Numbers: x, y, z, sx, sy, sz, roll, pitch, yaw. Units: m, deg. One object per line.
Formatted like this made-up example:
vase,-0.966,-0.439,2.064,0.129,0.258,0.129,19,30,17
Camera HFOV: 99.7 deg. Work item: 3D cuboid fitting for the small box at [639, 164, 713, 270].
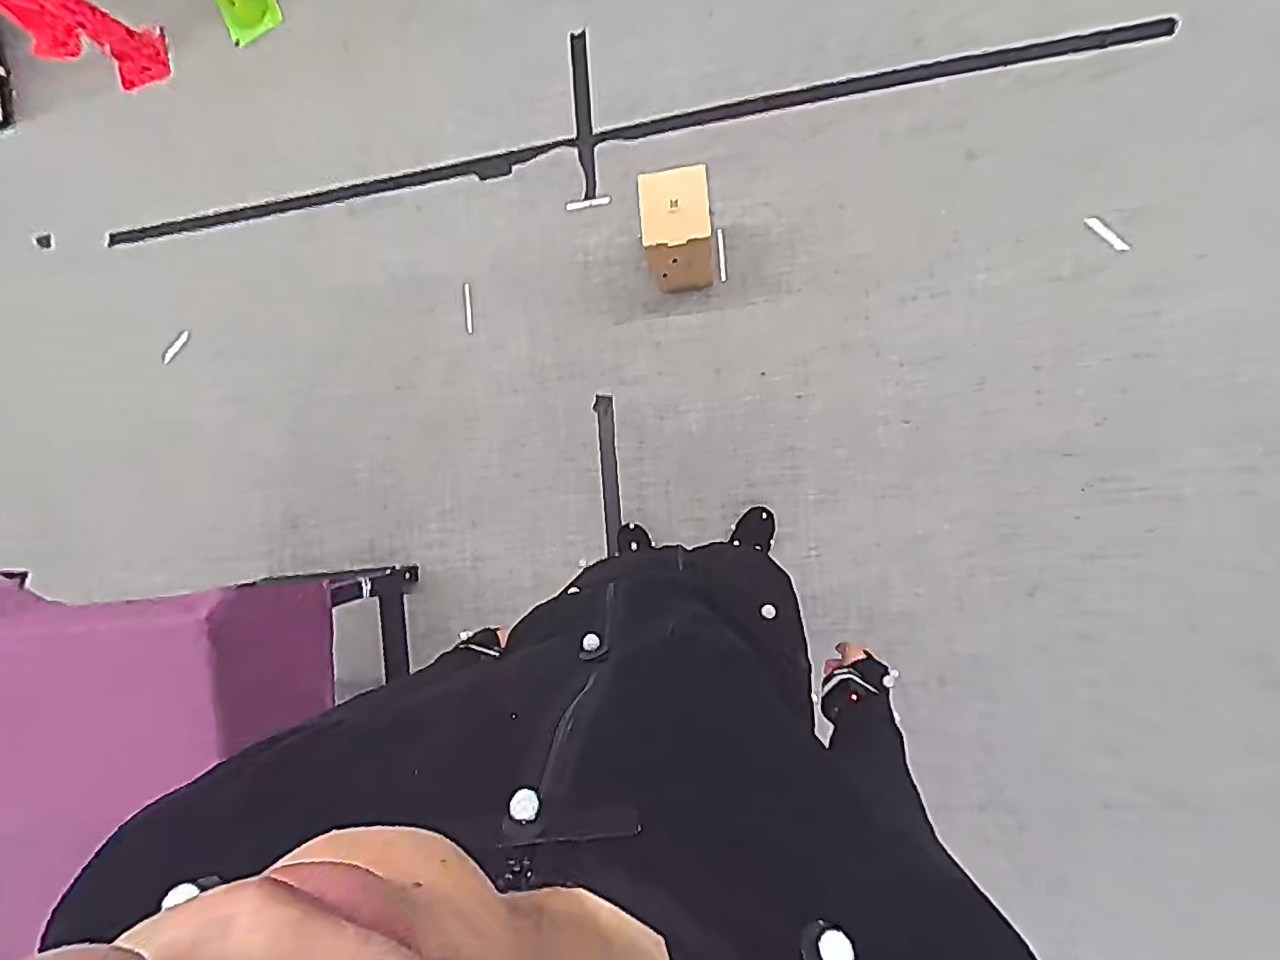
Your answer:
small box,0.094,-0.656,1.365,0.168,0.176,0.179,-5,89,8
